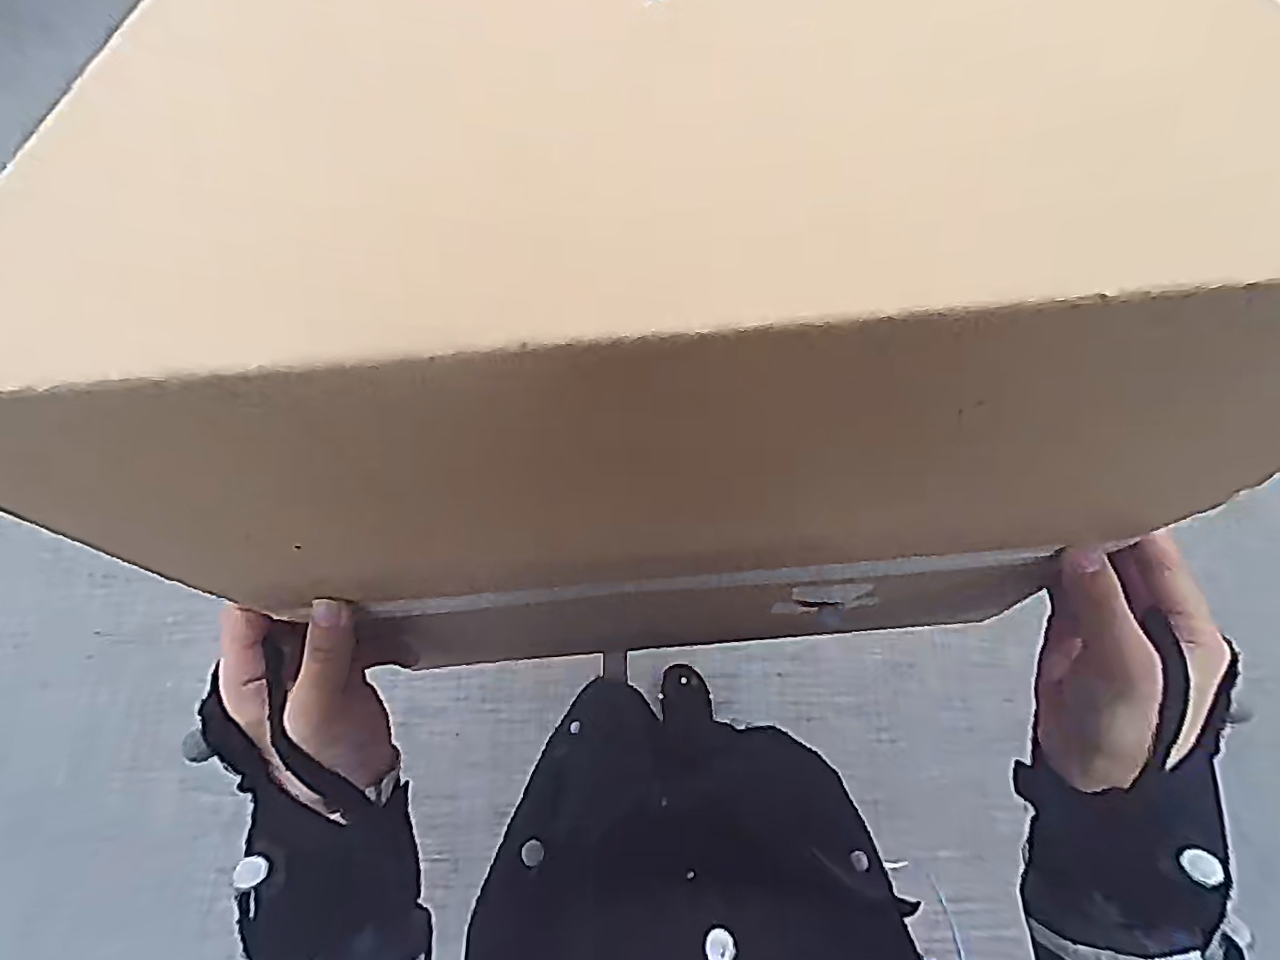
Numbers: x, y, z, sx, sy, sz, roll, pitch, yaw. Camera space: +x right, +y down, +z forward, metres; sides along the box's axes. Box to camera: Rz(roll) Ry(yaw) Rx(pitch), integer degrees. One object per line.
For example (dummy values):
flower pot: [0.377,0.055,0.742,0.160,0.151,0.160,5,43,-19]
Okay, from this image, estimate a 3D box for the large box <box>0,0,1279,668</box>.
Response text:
large box: [0.012,-0.090,0.332,0.408,0.320,0.320,-6,62,0]
